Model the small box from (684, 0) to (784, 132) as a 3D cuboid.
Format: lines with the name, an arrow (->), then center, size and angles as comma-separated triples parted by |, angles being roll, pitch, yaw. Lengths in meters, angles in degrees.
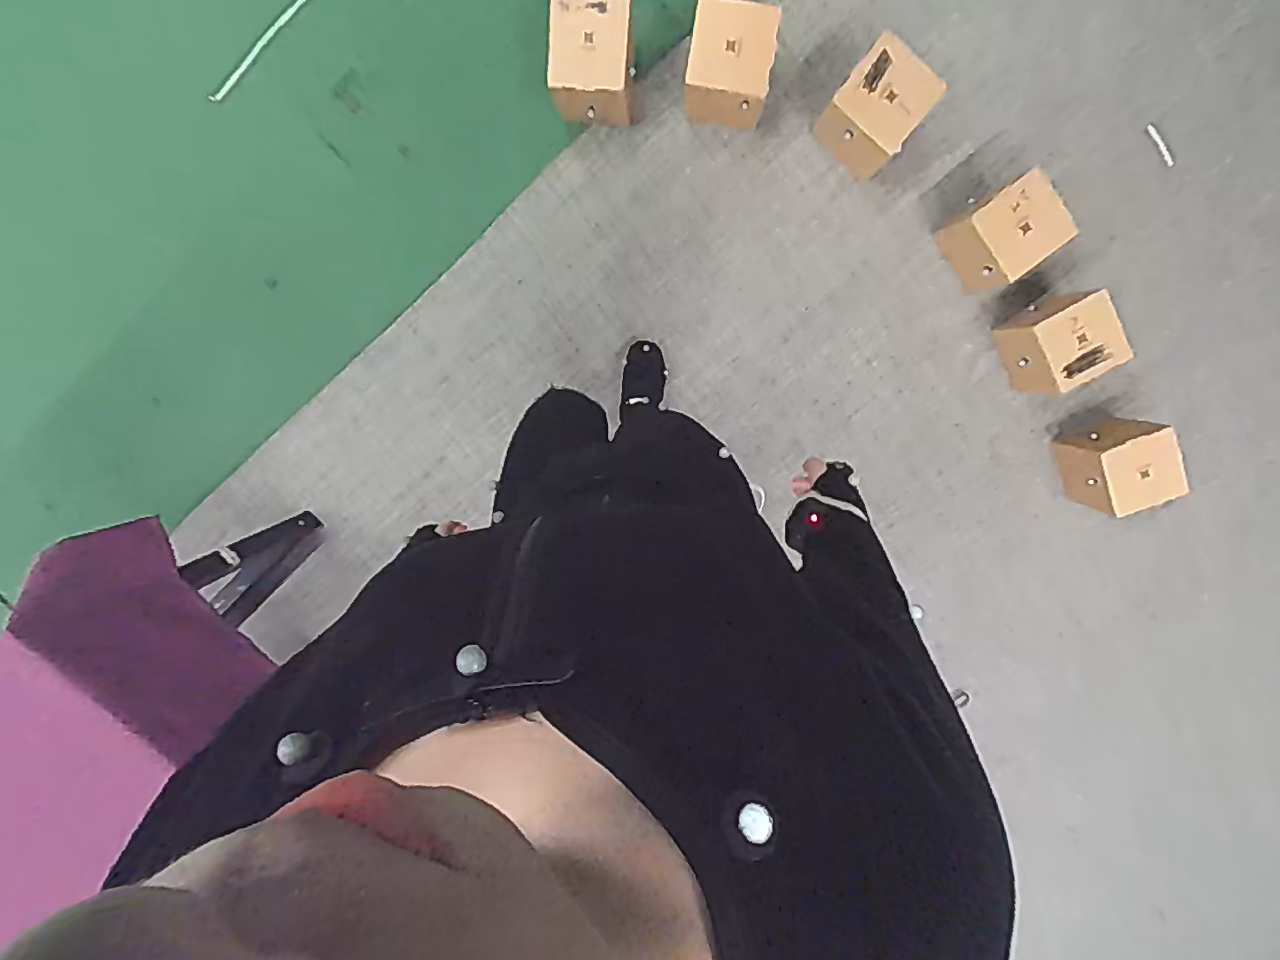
small box -> 0.197, -0.899, 1.191 | 0.179, 0.176, 0.168 | 10, 102, 0

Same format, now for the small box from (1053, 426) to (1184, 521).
small box -> 1.170, -0.025, 1.336 | 0.168, 0.176, 0.179 | -22, 102, 8

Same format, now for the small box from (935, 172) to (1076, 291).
small box -> 0.821, -0.551, 1.233 | 0.168, 0.176, 0.179 | -37, 98, 10

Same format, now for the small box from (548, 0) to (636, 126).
small box -> -0.101, -0.916, 1.199 | 0.168, 0.176, 0.179 | 6, 103, 1
